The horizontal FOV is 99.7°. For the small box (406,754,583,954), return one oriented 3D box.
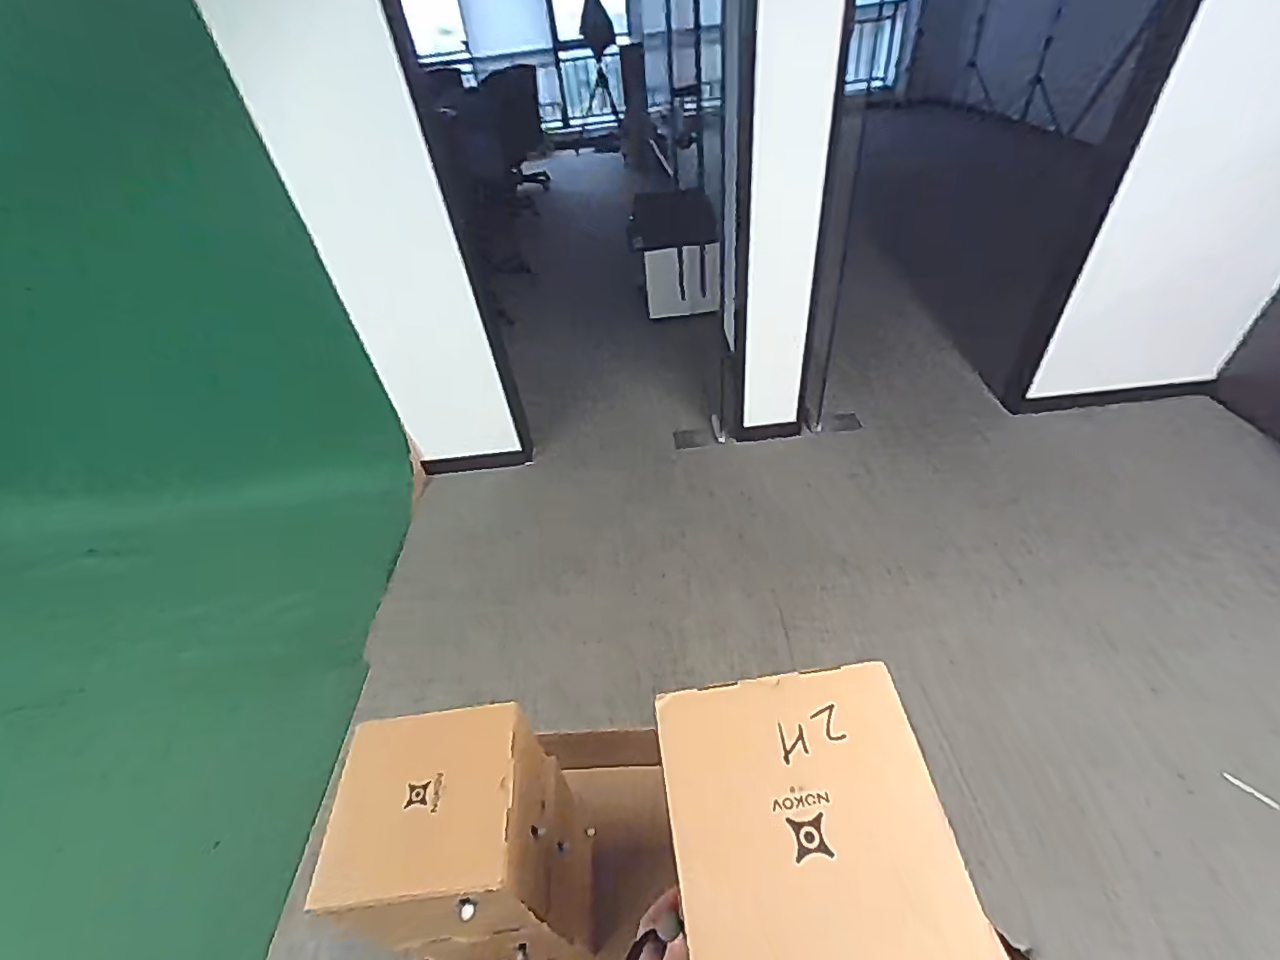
[{"bbox_3d":[-0.167,0.478,0.688,0.168,0.176,0.179,-7,42,1],"label":"small box"}]

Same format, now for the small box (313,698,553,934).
[{"bbox_3d":[-0.198,0.361,0.579,0.179,0.176,0.168,-8,43,-1],"label":"small box"}]

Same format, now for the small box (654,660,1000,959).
[{"bbox_3d":[0.106,0.250,0.390,0.168,0.176,0.179,-8,55,-2],"label":"small box"}]
